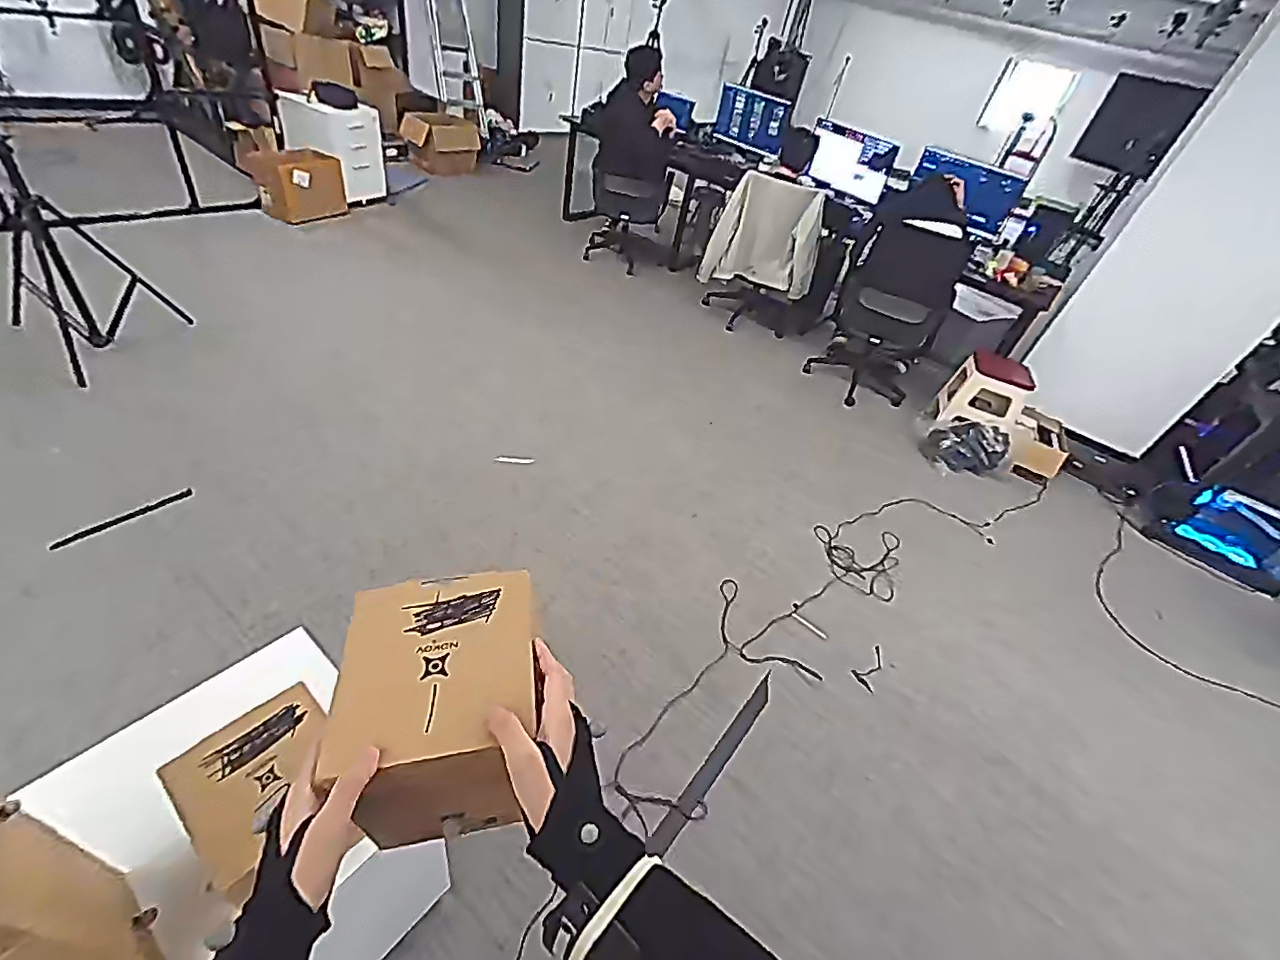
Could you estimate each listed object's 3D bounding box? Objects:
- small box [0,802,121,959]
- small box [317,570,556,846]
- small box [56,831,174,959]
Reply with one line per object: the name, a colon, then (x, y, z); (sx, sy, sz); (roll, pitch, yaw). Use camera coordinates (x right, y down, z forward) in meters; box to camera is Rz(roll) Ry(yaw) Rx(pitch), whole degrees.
small box: (-0.578, 0.389, 0.433); (0.179, 0.176, 0.168); (34, 44, 22)
small box: (-0.174, 0.215, 0.522); (0.168, 0.176, 0.179); (-7, 42, -8)
small box: (-0.609, 0.508, 0.538); (0.179, 0.176, 0.168); (34, 45, 23)
